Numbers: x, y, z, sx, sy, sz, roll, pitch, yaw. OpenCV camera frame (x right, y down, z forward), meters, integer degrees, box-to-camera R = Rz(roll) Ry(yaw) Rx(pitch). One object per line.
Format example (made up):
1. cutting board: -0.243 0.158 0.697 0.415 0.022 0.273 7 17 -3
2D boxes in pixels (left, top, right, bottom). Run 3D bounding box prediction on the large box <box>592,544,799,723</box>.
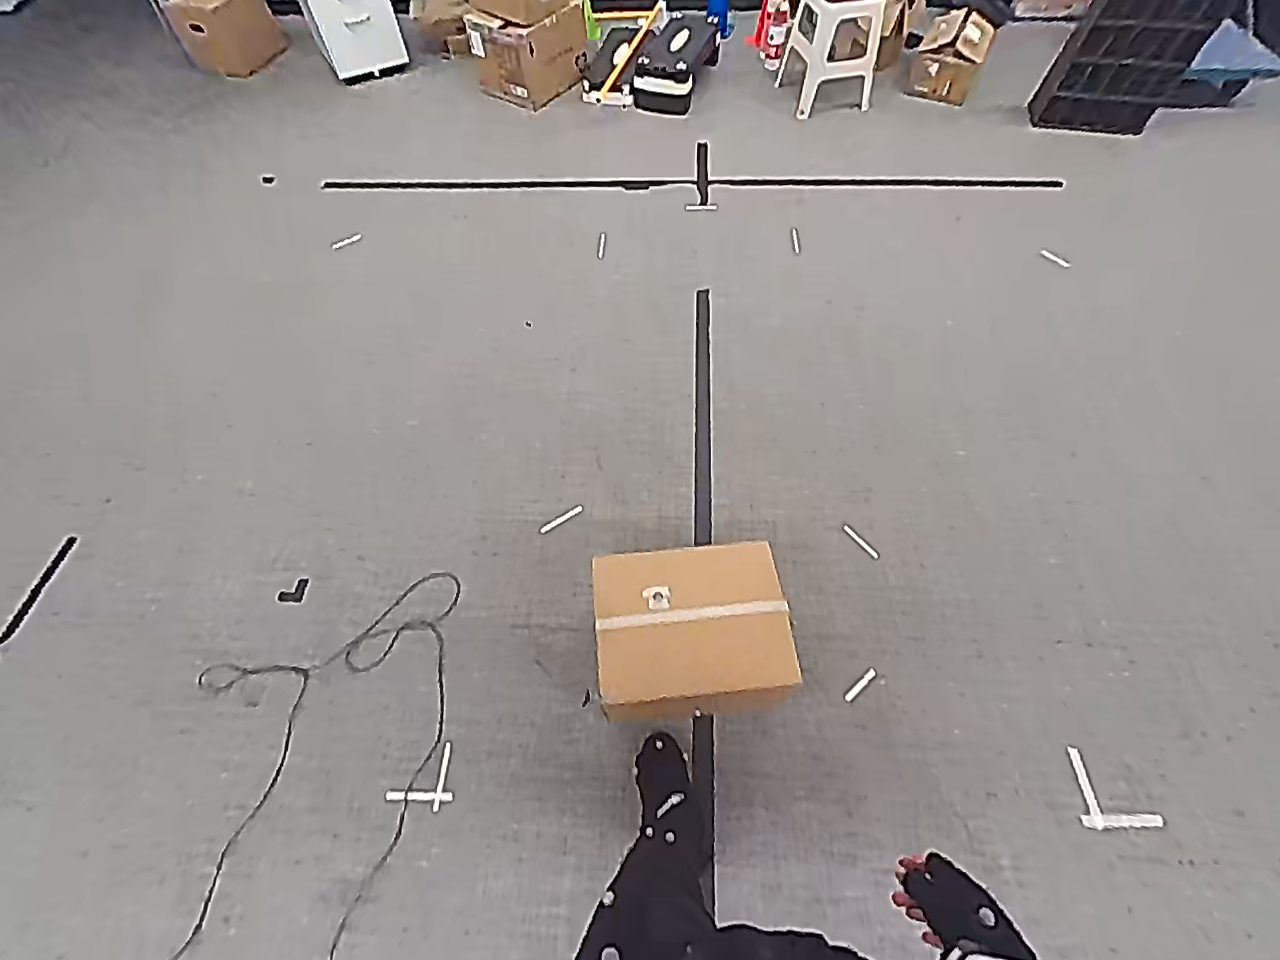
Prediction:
1. large box: 0.111 0.371 1.270 0.408 0.320 0.320 -6 59 -1
